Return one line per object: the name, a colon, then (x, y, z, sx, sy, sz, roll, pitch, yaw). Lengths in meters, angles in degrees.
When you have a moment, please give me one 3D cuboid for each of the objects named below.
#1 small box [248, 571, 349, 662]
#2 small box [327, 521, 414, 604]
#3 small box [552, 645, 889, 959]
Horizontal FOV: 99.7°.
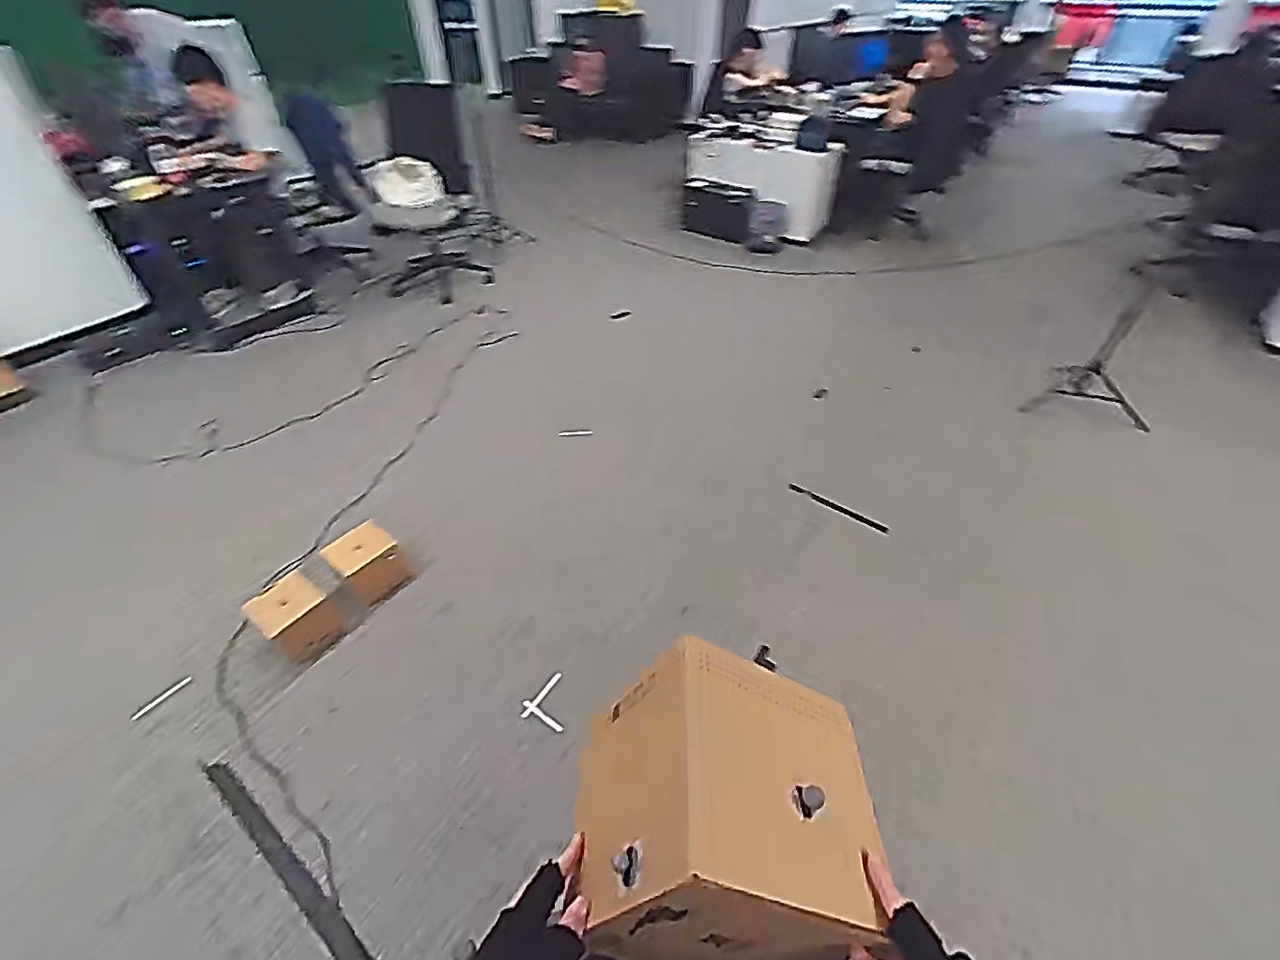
small box: (-1.026, 0.416, 1.634, 0.179, 0.176, 0.168, 28, 51, 25)
small box: (-0.882, 0.276, 1.784, 0.168, 0.176, 0.179, 28, 50, 27)
small box: (0.053, 0.261, 0.435, 0.179, 0.168, 0.176, 27, 33, -18)
